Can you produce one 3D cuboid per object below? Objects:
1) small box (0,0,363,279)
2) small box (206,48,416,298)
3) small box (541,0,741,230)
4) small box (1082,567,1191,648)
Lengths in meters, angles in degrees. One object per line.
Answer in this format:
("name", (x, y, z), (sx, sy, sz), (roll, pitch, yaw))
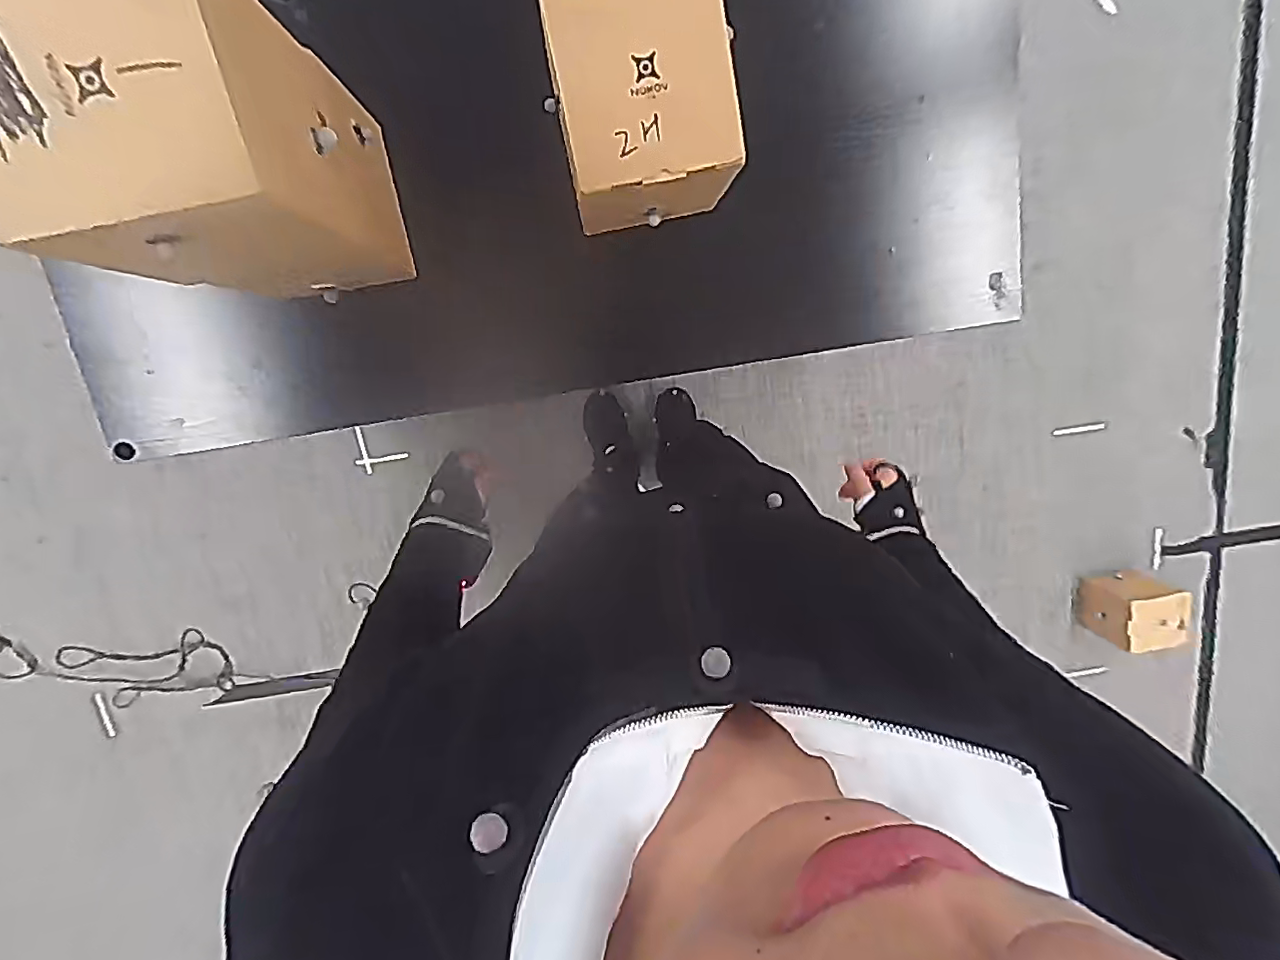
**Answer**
("small box", (-0.355, -0.266, 0.417), (0.179, 0.176, 0.168), (-13, 102, -2))
("small box", (-0.365, -0.305, 0.576), (0.168, 0.176, 0.179), (-11, 103, -1))
("small box", (-0.003, -0.395, 0.583), (0.168, 0.176, 0.179), (-12, 102, -1))
("small box", (1.458, 0.372, 1.601), (0.179, 0.176, 0.168), (-9, 103, -1))
